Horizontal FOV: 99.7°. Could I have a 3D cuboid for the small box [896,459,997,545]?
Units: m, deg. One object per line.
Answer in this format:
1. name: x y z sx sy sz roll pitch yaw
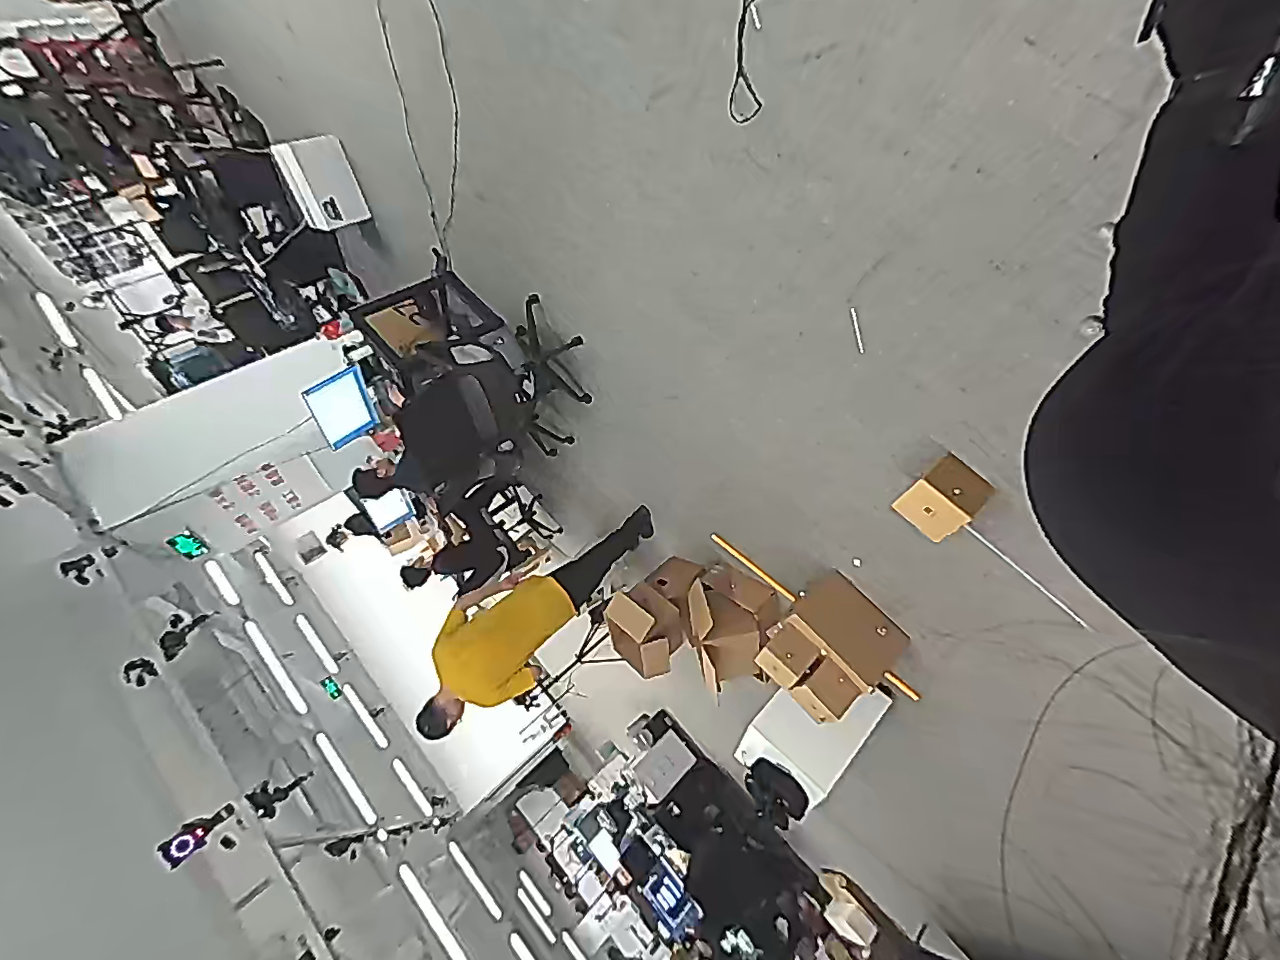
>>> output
1. small box: 0.935 0.059 1.651 0.179 0.176 0.168 44 151 17
